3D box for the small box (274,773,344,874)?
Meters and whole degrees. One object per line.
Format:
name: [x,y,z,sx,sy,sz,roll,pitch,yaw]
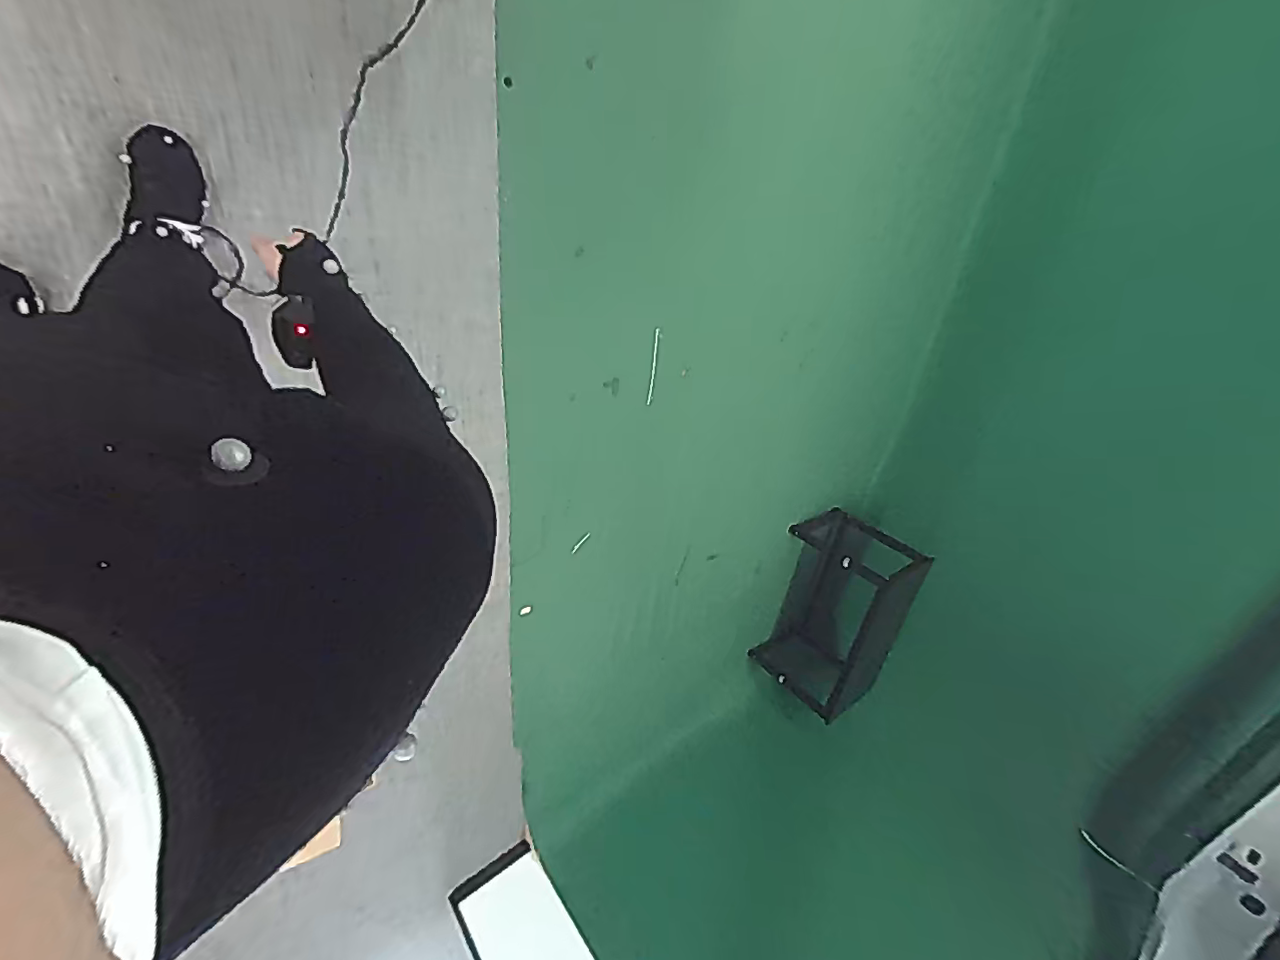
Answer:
small box: [-1.038,1.069,1.694,0.168,0.176,0.179,-7,120,-39]
